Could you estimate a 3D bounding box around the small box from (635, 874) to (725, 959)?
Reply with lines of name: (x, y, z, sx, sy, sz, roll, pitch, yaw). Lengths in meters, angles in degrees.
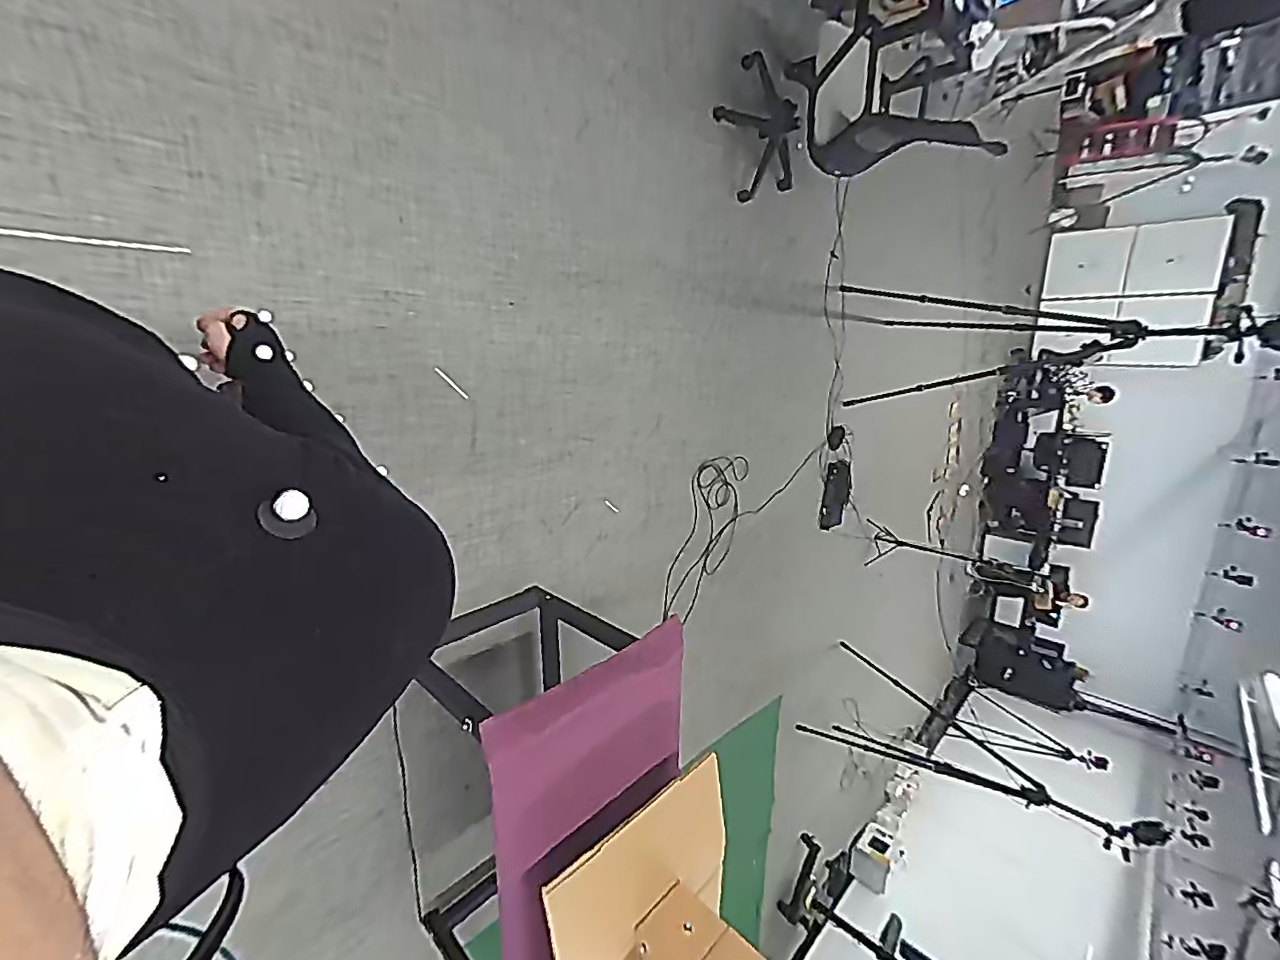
small box: (0.101, 1.202, 1.417, 0.179, 0.176, 0.168, -17, 115, -43)
